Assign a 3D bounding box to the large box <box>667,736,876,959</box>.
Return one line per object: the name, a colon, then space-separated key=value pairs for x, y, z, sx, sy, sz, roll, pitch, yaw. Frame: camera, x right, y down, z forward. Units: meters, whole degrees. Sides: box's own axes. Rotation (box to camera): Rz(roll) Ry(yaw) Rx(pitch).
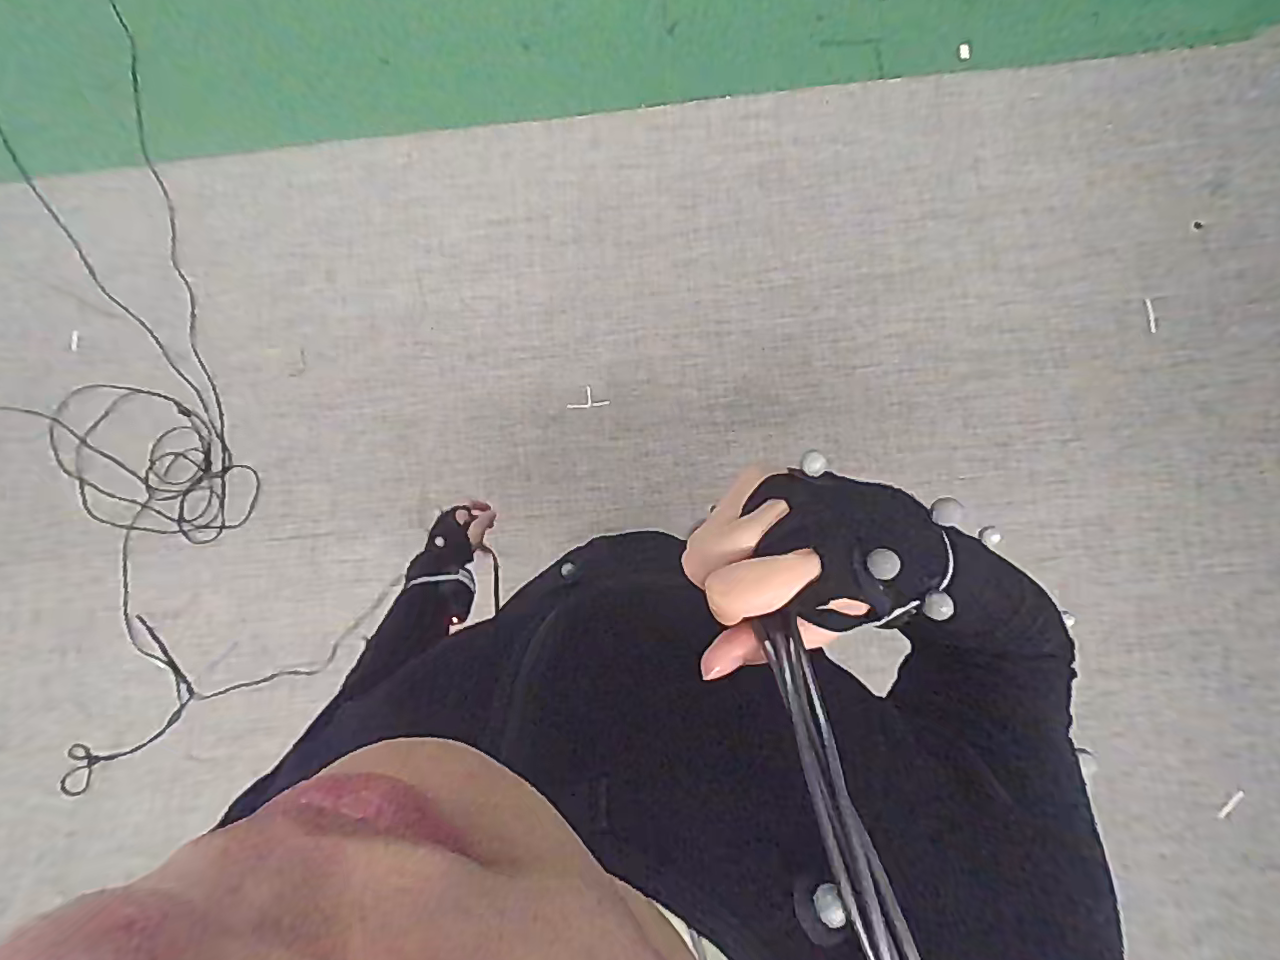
large box: x=0.275 y=0.883 z=1.236 sx=0.320 sy=0.320 sz=0.408 roll=-19 pitch=85 yaw=0
